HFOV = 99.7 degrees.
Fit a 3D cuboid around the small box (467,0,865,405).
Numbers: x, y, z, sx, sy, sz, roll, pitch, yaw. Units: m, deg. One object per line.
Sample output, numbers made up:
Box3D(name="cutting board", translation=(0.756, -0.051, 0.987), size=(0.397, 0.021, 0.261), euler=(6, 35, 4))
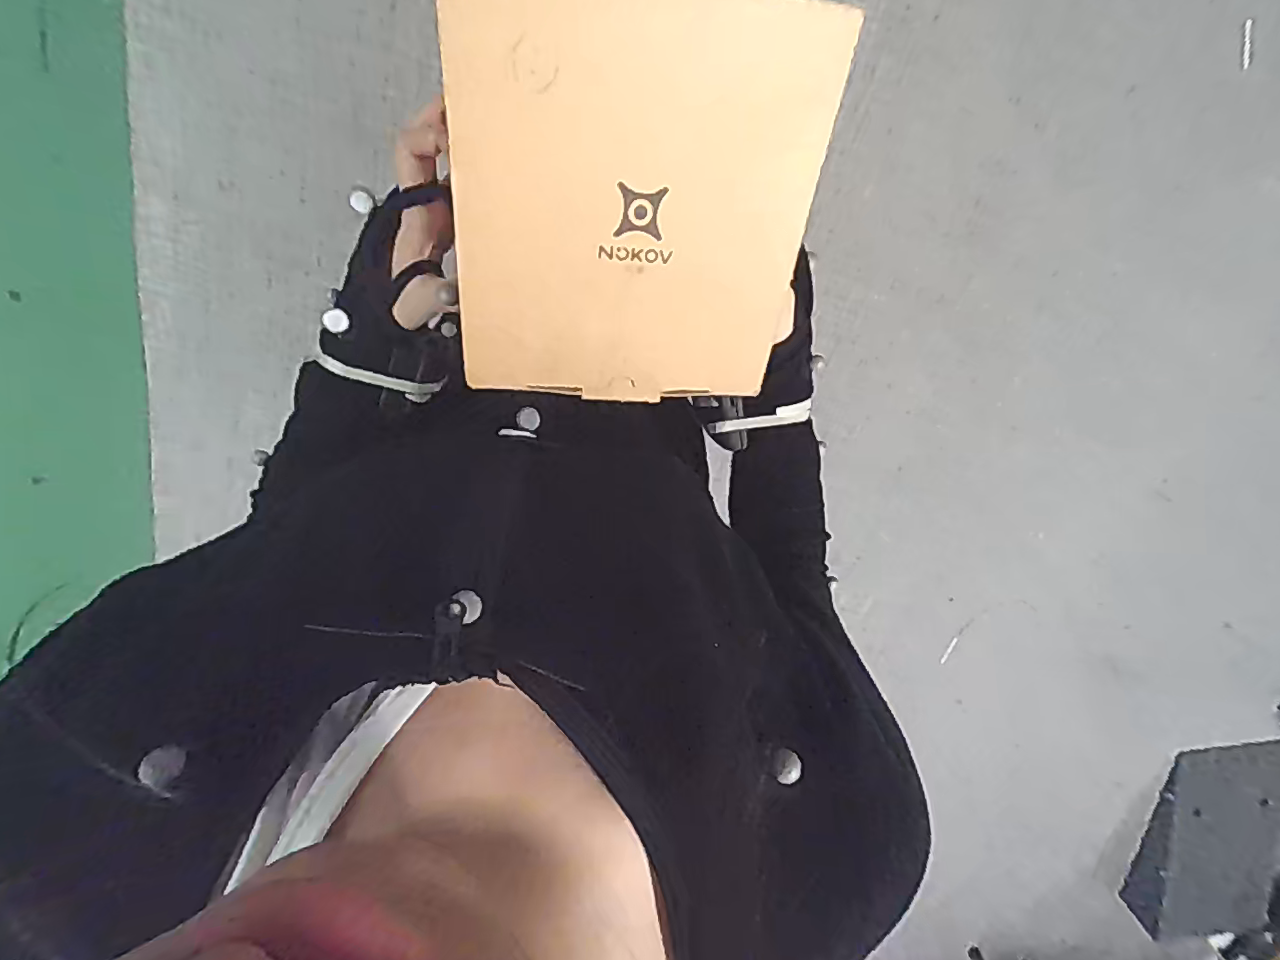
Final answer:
Box3D(name="small box", translation=(-0.009, -0.163, 0.319), size=(0.168, 0.176, 0.179), euler=(0, 128, -12))
